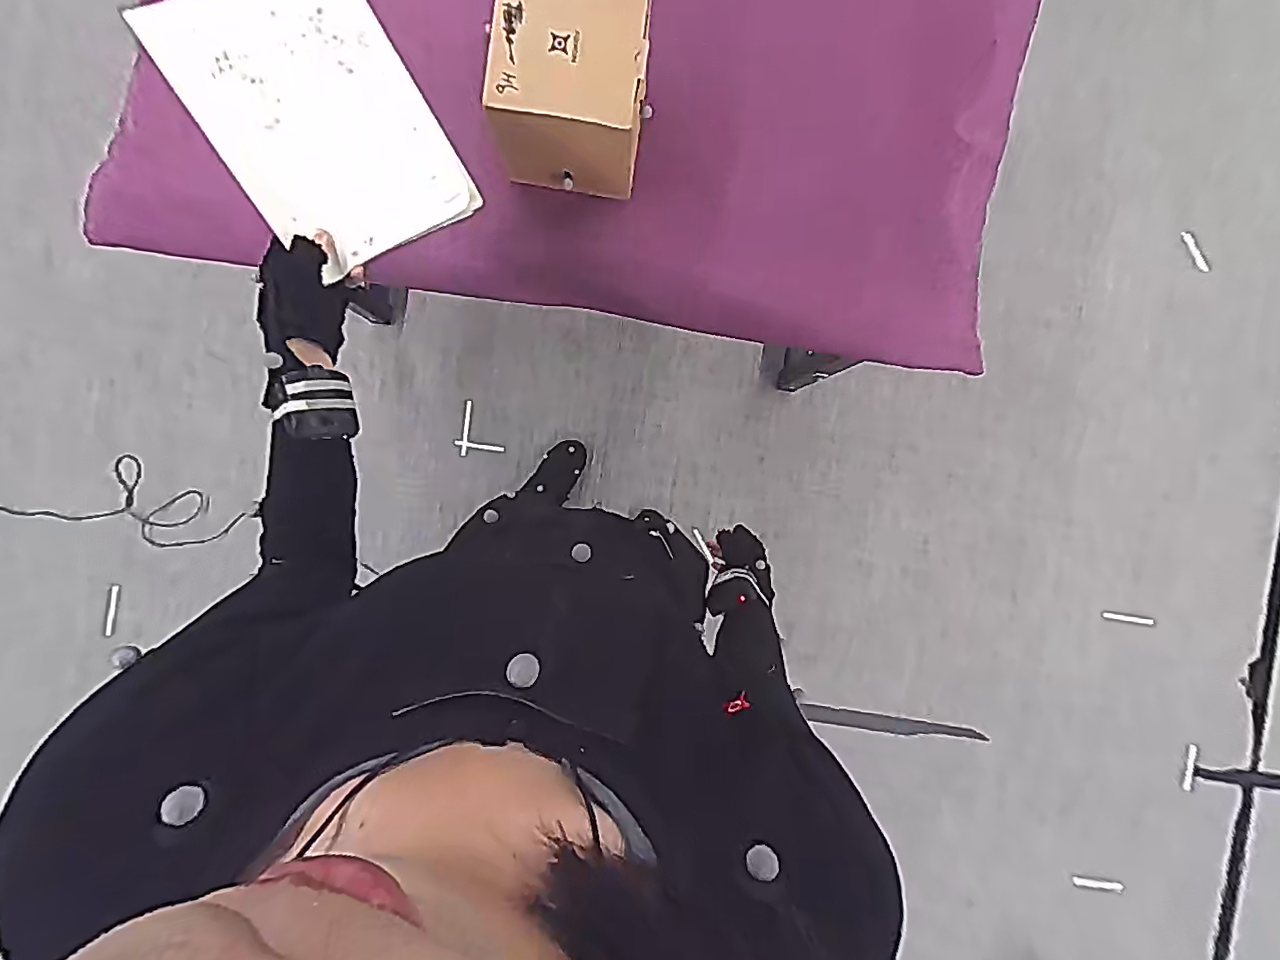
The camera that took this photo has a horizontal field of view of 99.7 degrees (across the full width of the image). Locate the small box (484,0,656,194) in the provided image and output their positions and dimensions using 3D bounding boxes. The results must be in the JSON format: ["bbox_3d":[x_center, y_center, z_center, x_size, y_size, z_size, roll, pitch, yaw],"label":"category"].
[{"bbox_3d":[-0.083,-0.493,0.688,0.179,0.176,0.168,8,90,-3],"label":"small box"}]
